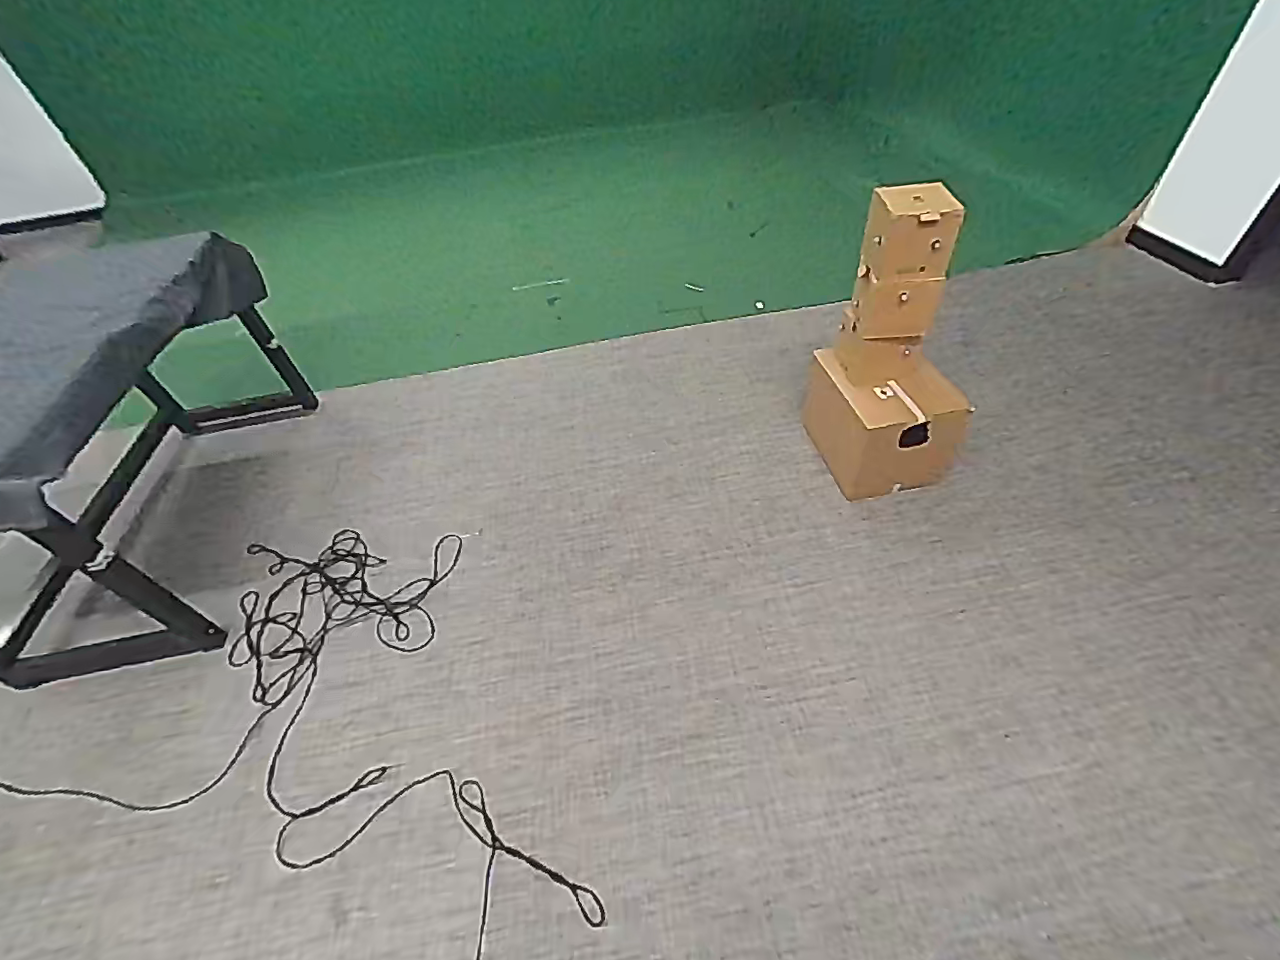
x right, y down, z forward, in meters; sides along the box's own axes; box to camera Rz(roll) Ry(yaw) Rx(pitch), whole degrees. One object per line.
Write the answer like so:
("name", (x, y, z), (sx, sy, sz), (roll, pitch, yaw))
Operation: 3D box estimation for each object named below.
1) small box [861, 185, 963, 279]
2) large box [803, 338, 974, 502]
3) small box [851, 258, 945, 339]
("small box", (0.680, -0.623, 1.372), (0.168, 0.176, 0.179), (-3, 47, 4))
("large box", (0.764, -0.197, 1.744), (0.320, 0.320, 0.408), (-12, 48, -2))
("small box", (0.697, -0.503, 1.480), (0.179, 0.176, 0.168), (-1, 48, 7))
